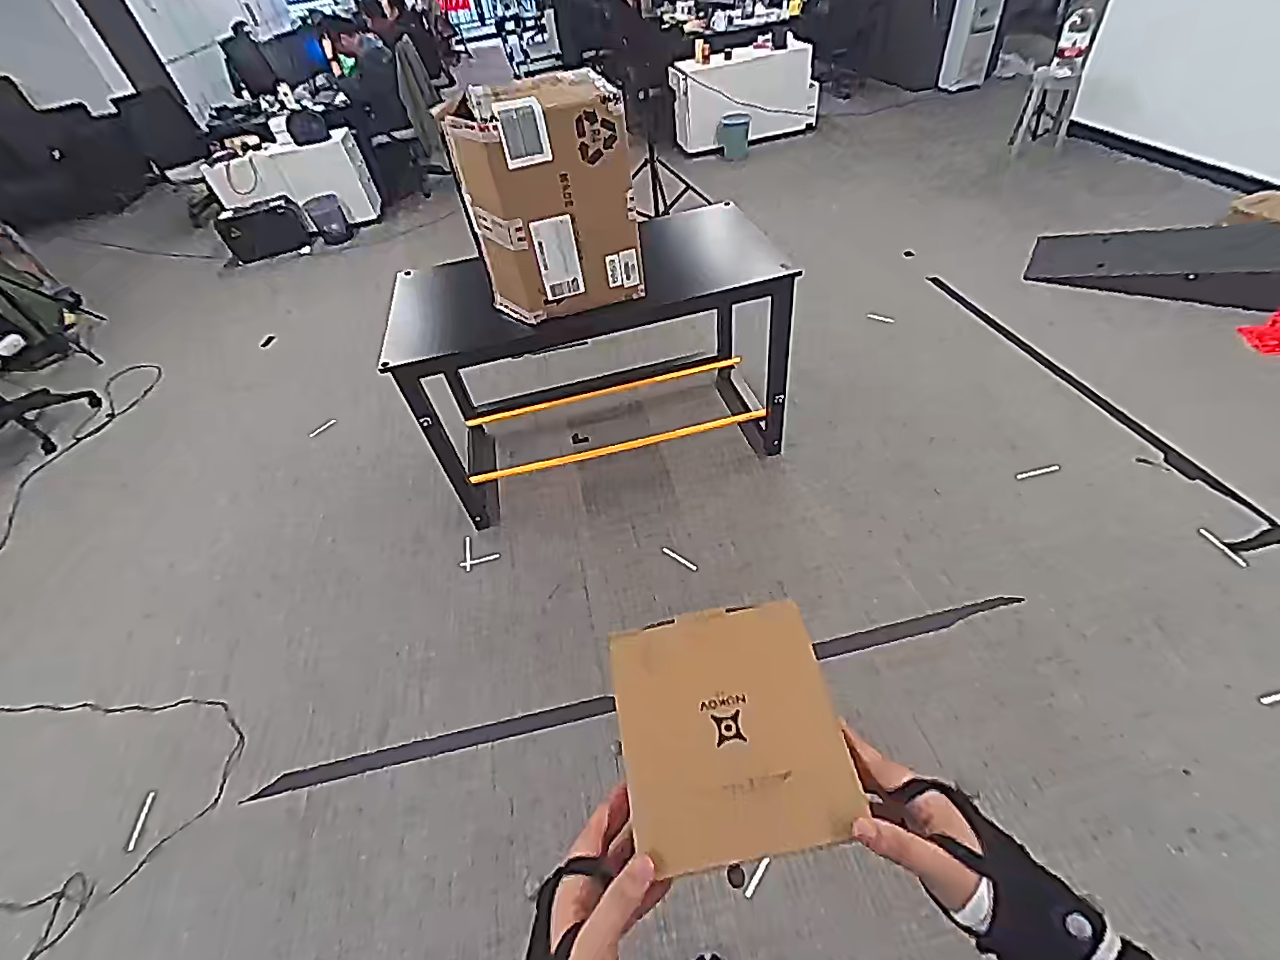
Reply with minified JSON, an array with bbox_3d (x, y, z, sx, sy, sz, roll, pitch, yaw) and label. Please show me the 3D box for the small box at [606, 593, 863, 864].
[{"bbox_3d":[0.068,0.226,0.483,0.168,0.176,0.179,-11,55,-1],"label":"small box"}]
